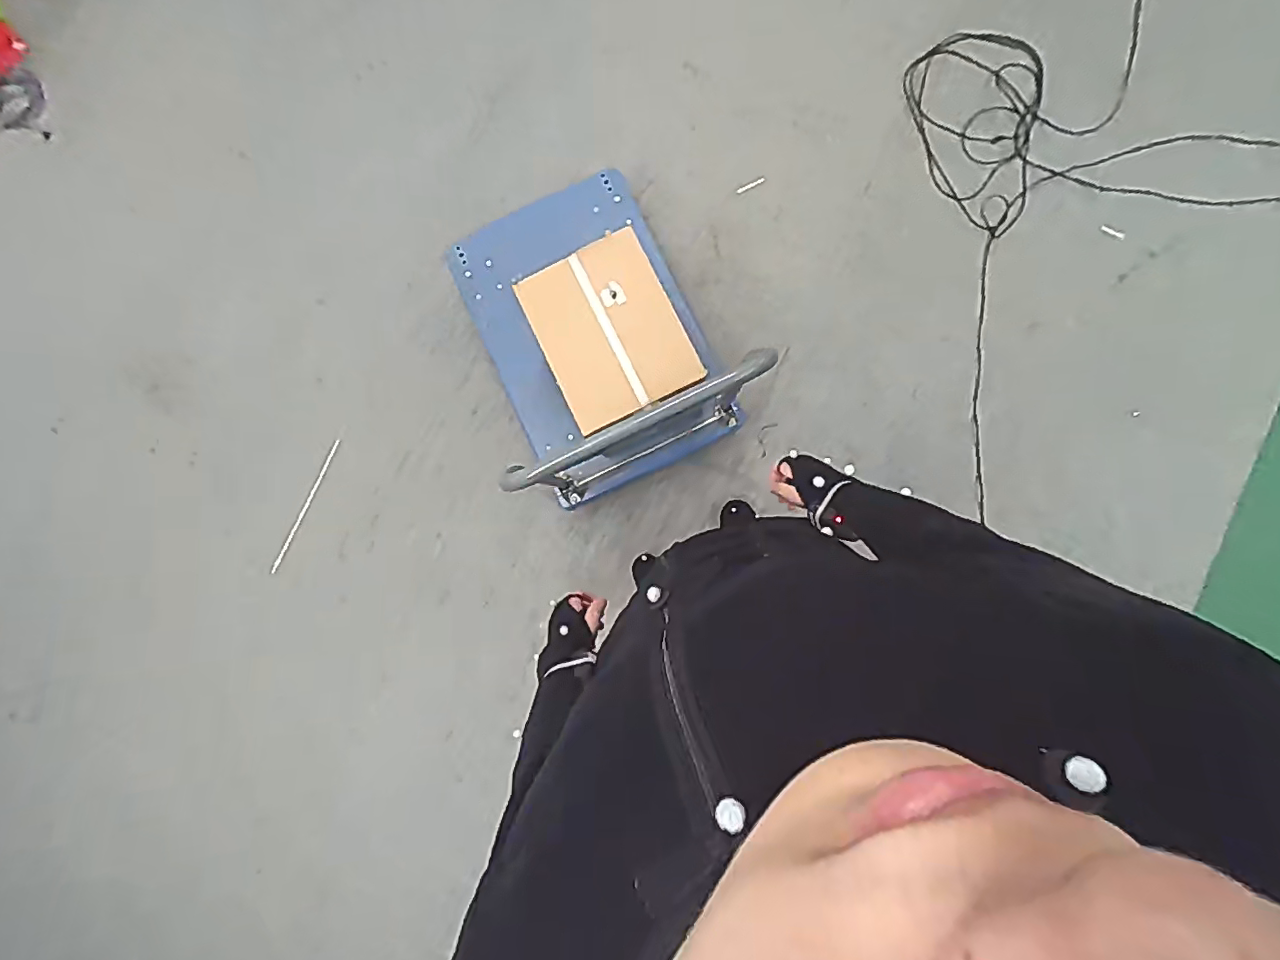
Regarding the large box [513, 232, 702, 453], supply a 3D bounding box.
[{"bbox_3d":[-0.066,-0.330,1.398,0.320,0.320,0.408,-26,82,1],"label":"large box"}]
